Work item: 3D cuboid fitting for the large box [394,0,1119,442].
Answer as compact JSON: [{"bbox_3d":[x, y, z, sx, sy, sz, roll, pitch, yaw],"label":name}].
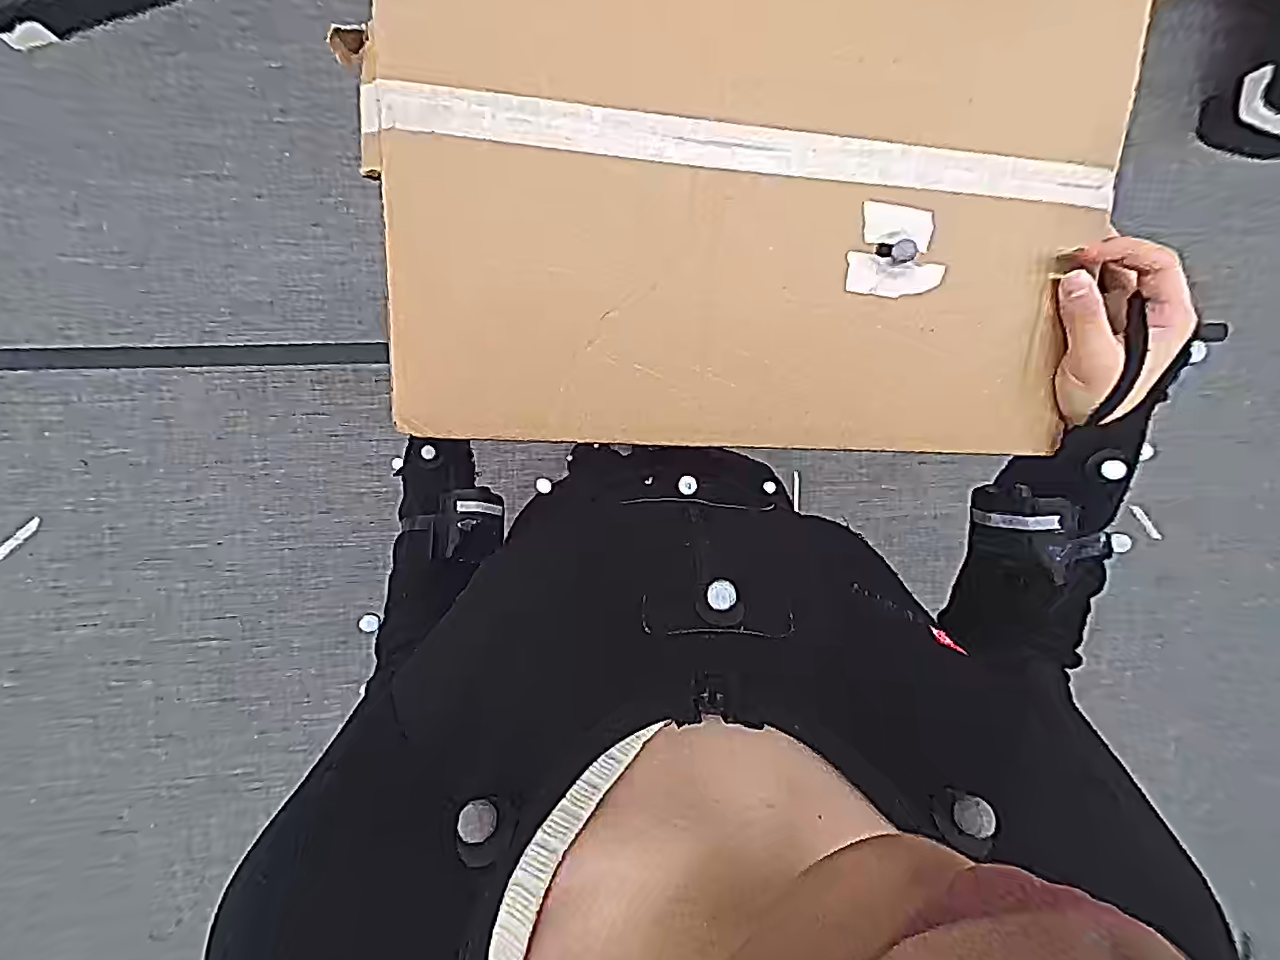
[{"bbox_3d":[0.049,-0.204,0.441,0.408,0.320,0.320,1,102,-11],"label":"large box"}]
